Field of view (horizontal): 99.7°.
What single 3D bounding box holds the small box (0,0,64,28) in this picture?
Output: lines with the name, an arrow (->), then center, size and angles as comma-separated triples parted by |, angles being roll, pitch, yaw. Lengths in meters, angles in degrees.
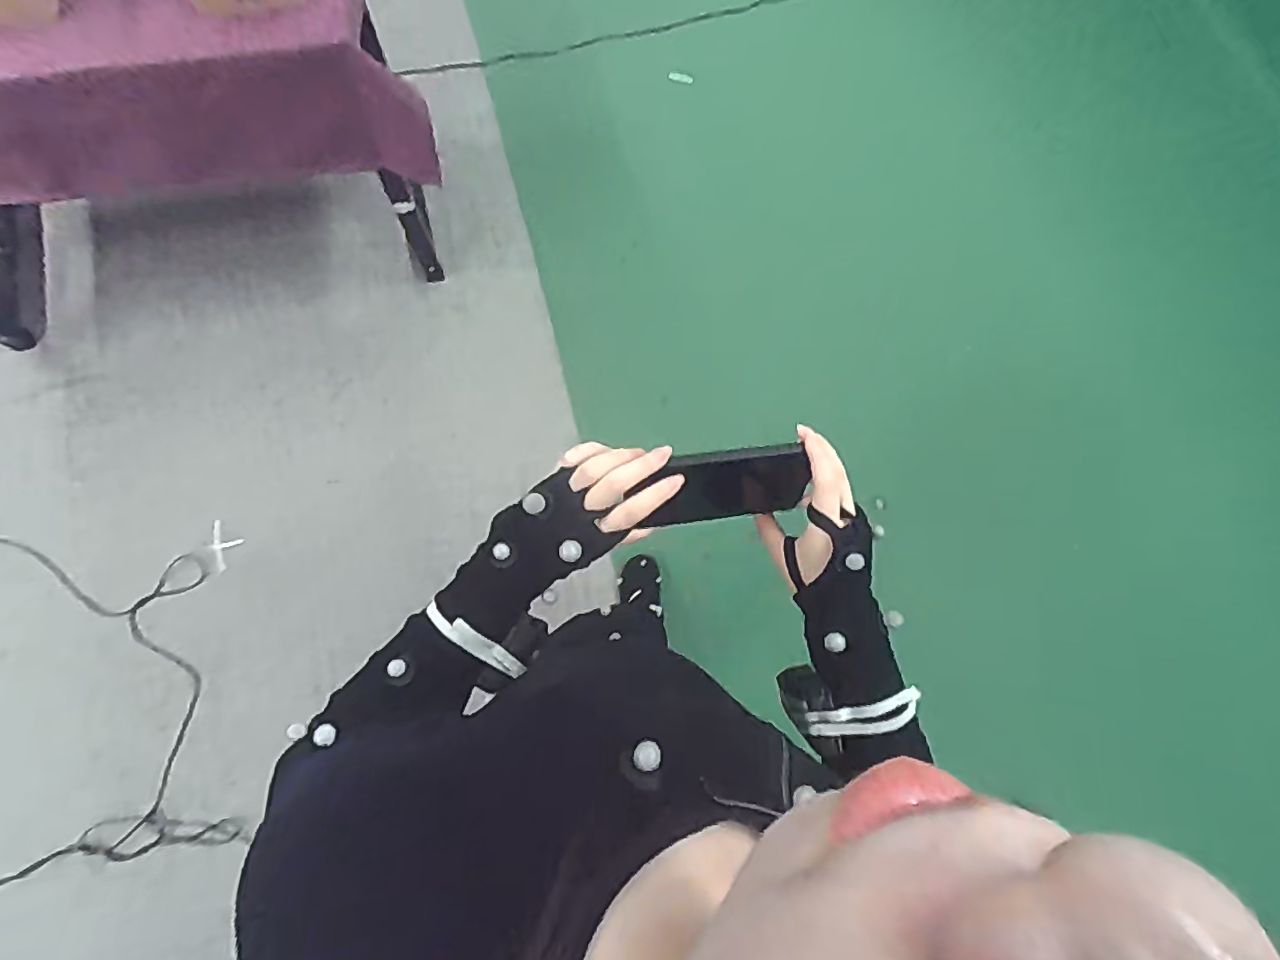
small box -> -1.076, -0.854, 0.849 | 0.179, 0.176, 0.168 | -10, 77, -9
